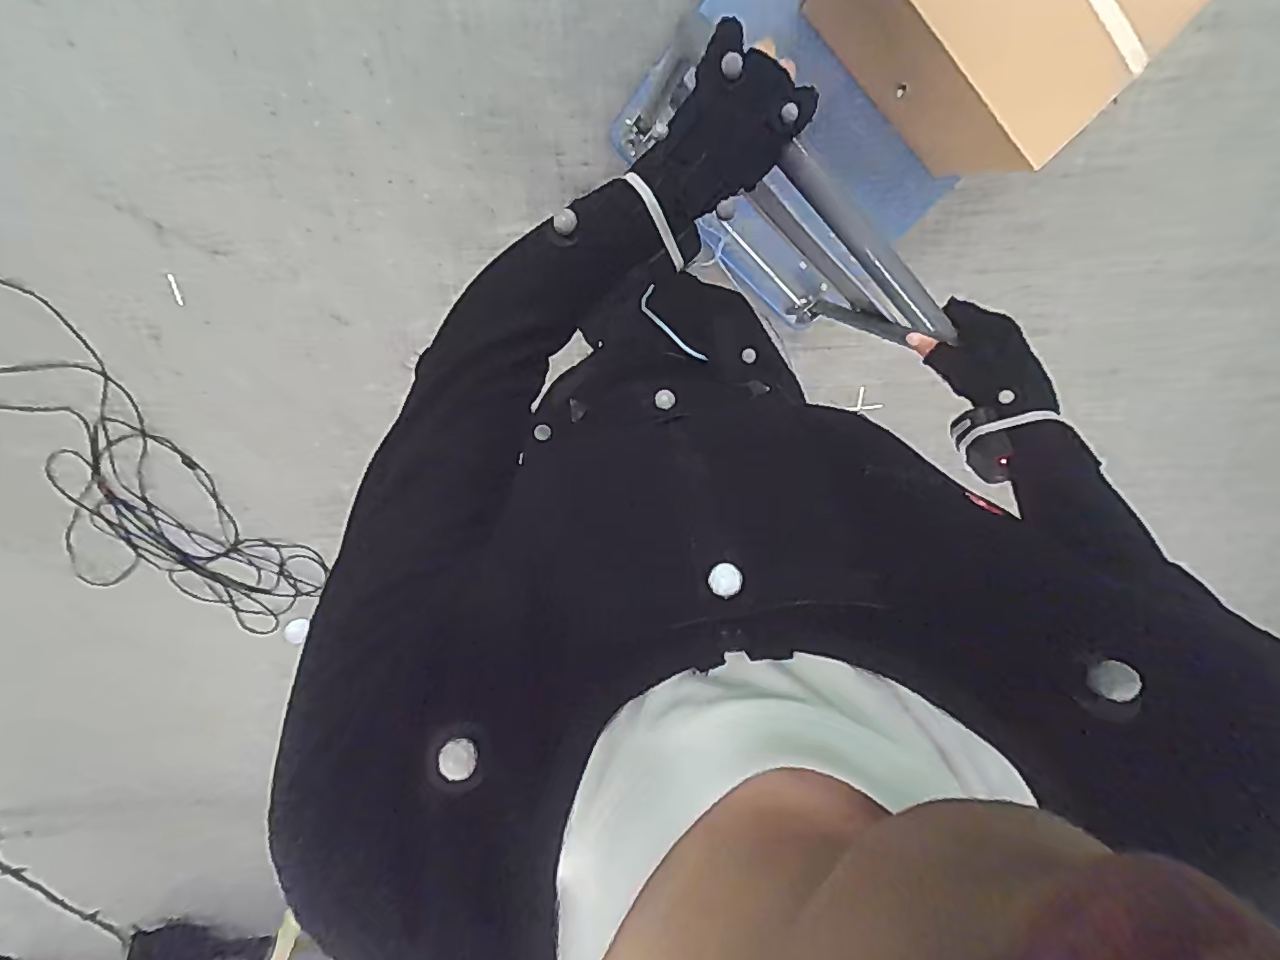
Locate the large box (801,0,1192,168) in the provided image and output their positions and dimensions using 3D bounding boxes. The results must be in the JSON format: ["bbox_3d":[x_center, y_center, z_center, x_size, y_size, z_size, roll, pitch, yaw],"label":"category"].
[{"bbox_3d":[0.526,-0.754,0.827,0.408,0.320,0.320,35,111,-17],"label":"large box"}]
